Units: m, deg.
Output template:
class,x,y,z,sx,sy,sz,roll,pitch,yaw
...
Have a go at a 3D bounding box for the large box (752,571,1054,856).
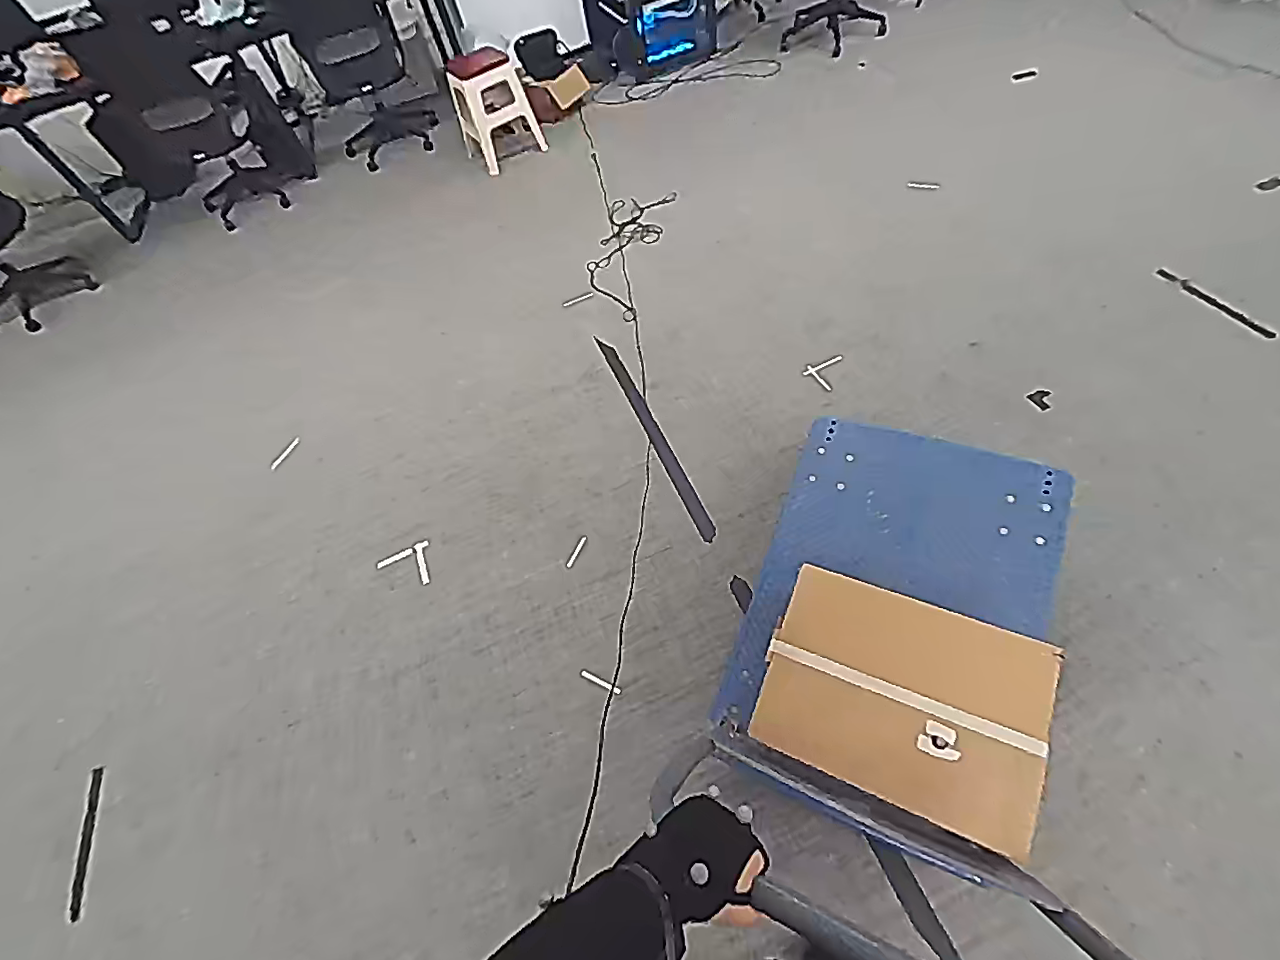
class,x,y,z,sx,sy,sz,roll,pitch,yaw
large box,0.451,0.408,1.006,0.408,0.320,0.320,17,73,21
